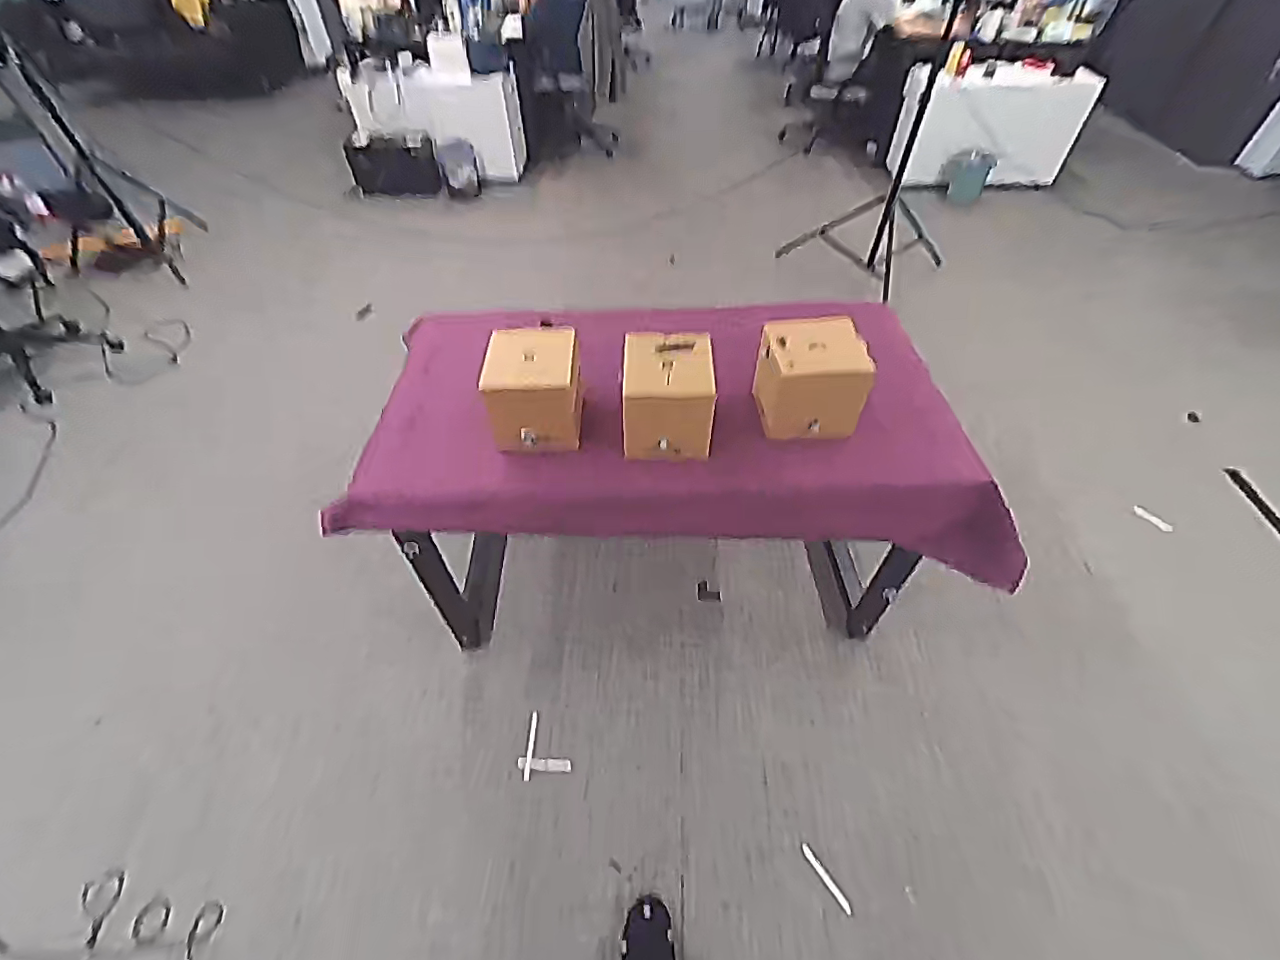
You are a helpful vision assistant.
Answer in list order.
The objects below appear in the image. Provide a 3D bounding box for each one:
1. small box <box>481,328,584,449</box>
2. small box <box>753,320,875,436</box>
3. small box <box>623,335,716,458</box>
[{"bbox_3d":[-0.204,-0.181,1.077,0.168,0.176,0.179,-3,50,0],"label":"small box"},{"bbox_3d":[0.338,-0.203,1.089,0.179,0.176,0.168,-3,49,-2],"label":"small box"},{"bbox_3d":[0.054,-0.164,1.058,0.168,0.176,0.179,0,49,1],"label":"small box"}]
